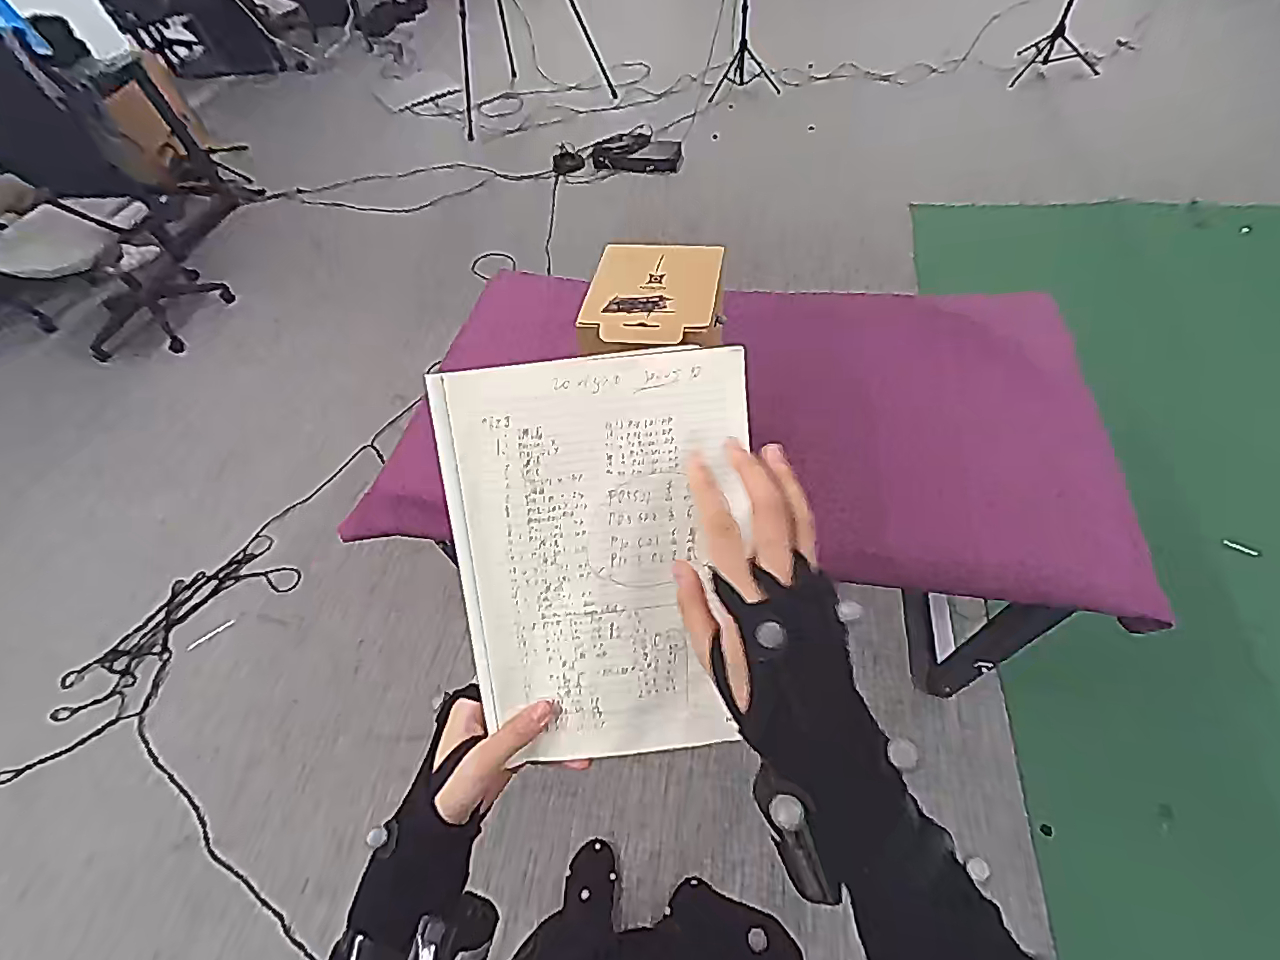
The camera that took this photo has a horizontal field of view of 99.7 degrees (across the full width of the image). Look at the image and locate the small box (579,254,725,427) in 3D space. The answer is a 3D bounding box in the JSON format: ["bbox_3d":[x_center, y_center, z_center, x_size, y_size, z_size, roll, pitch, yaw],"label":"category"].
[{"bbox_3d":[0.027,-0.193,0.763,0.168,0.176,0.179,6,54,11],"label":"small box"}]

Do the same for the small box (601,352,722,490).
[{"bbox_3d":[0.044,-0.102,0.900,0.168,0.176,0.179,6,56,11],"label":"small box"}]
